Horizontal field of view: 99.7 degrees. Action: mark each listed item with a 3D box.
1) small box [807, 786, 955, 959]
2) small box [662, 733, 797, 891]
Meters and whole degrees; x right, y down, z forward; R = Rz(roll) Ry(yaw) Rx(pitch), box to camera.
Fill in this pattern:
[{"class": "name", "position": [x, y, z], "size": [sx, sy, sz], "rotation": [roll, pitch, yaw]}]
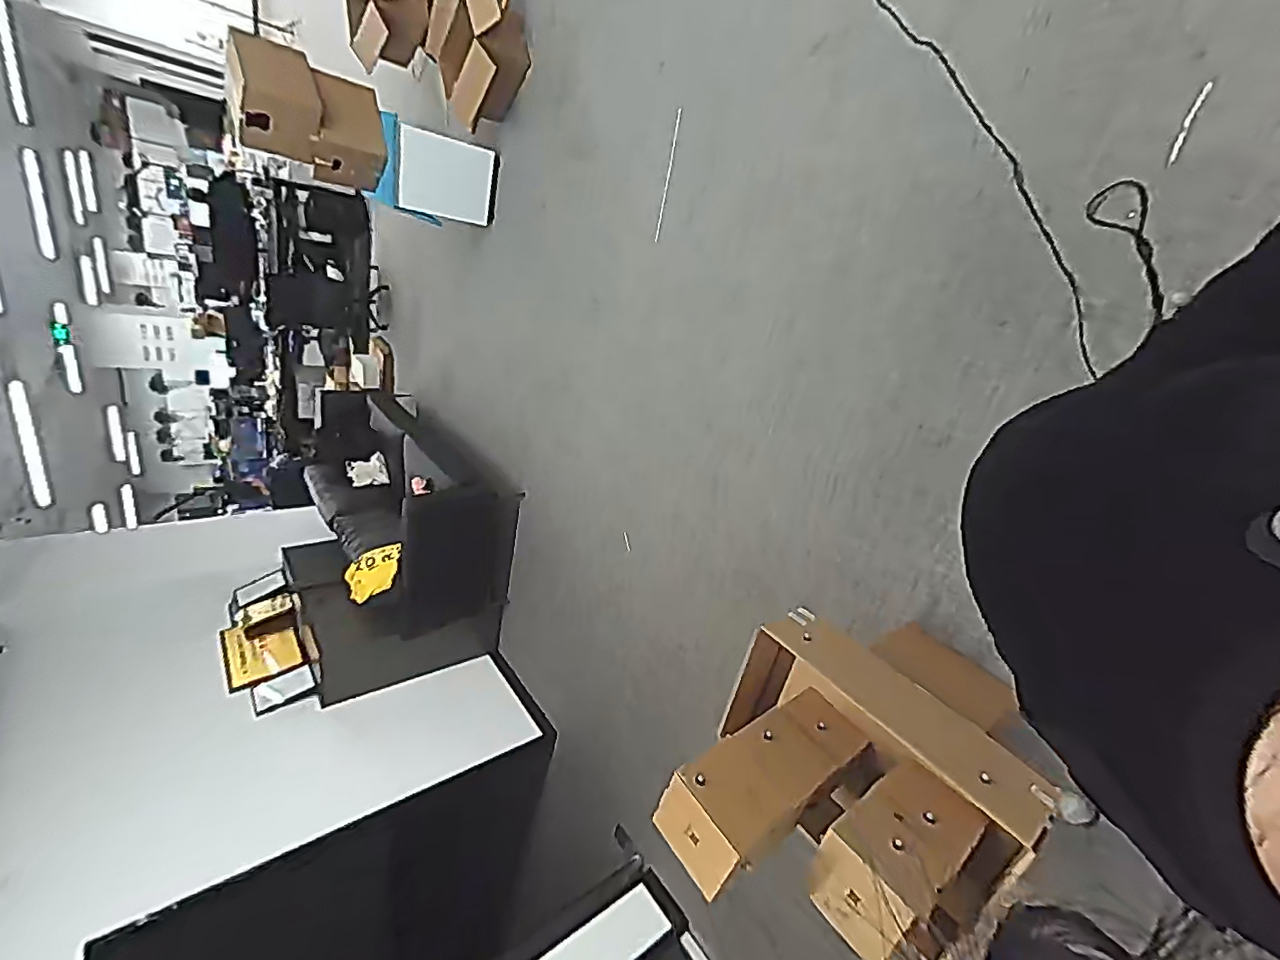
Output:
[{"class": "small box", "position": [0.449, 0.716, 1.003], "size": [0.168, 0.176, 0.179], "rotation": [37, 122, 43]}, {"class": "small box", "position": [0.178, 0.647, 1.074], "size": [0.179, 0.176, 0.168], "rotation": [41, 127, 38]}]
